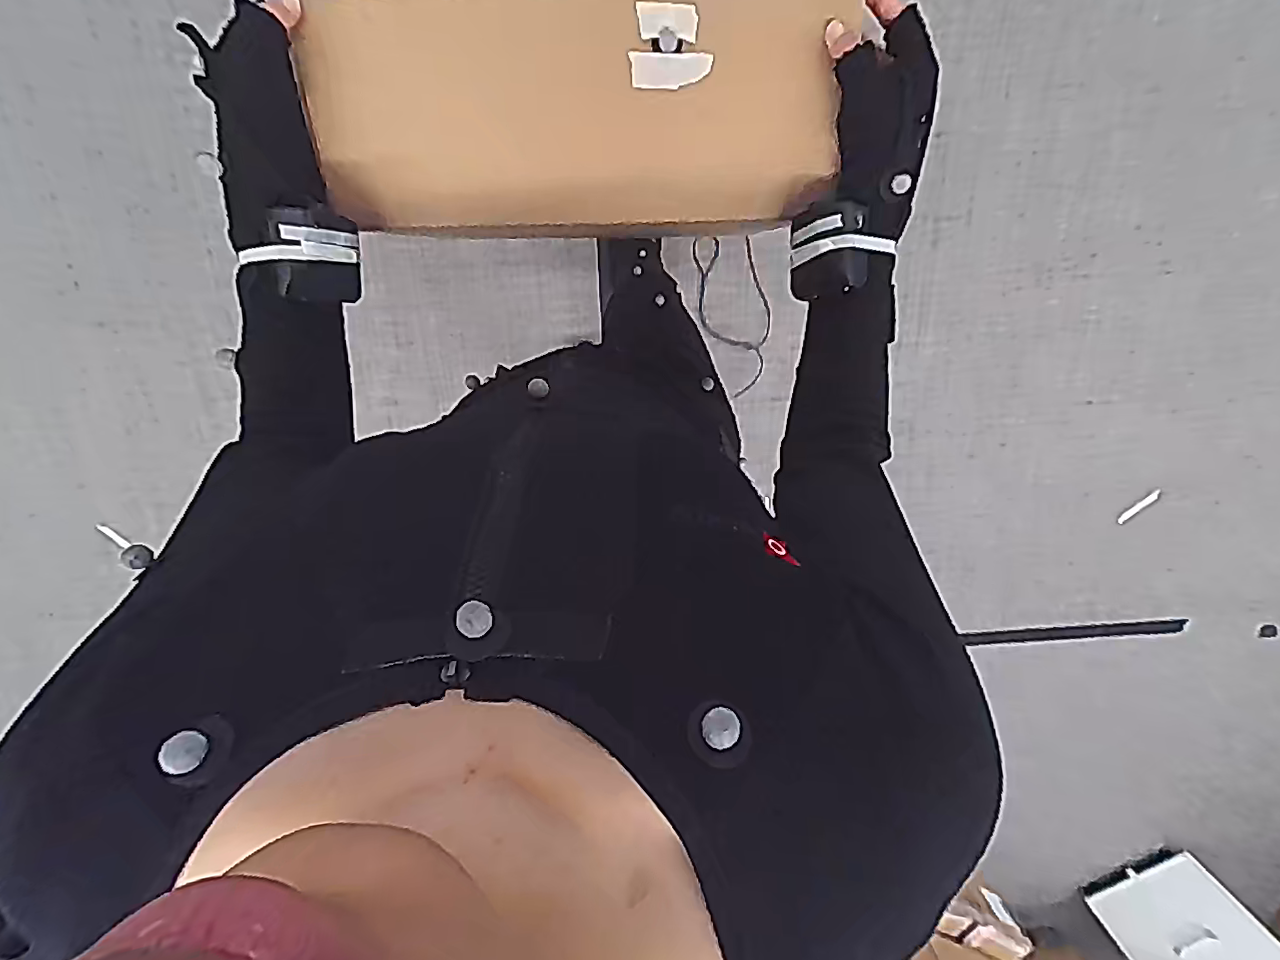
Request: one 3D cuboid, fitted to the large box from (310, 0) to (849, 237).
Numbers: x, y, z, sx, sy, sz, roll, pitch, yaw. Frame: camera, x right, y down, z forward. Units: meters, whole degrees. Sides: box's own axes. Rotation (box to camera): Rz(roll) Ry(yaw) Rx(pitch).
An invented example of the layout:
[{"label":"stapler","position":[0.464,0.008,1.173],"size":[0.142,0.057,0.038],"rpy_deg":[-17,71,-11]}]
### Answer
[{"label":"large box","position":[-0.048,-0.422,0.530],"size":[0.408,0.320,0.320],"rpy_deg":[-2,113,-1]}]
